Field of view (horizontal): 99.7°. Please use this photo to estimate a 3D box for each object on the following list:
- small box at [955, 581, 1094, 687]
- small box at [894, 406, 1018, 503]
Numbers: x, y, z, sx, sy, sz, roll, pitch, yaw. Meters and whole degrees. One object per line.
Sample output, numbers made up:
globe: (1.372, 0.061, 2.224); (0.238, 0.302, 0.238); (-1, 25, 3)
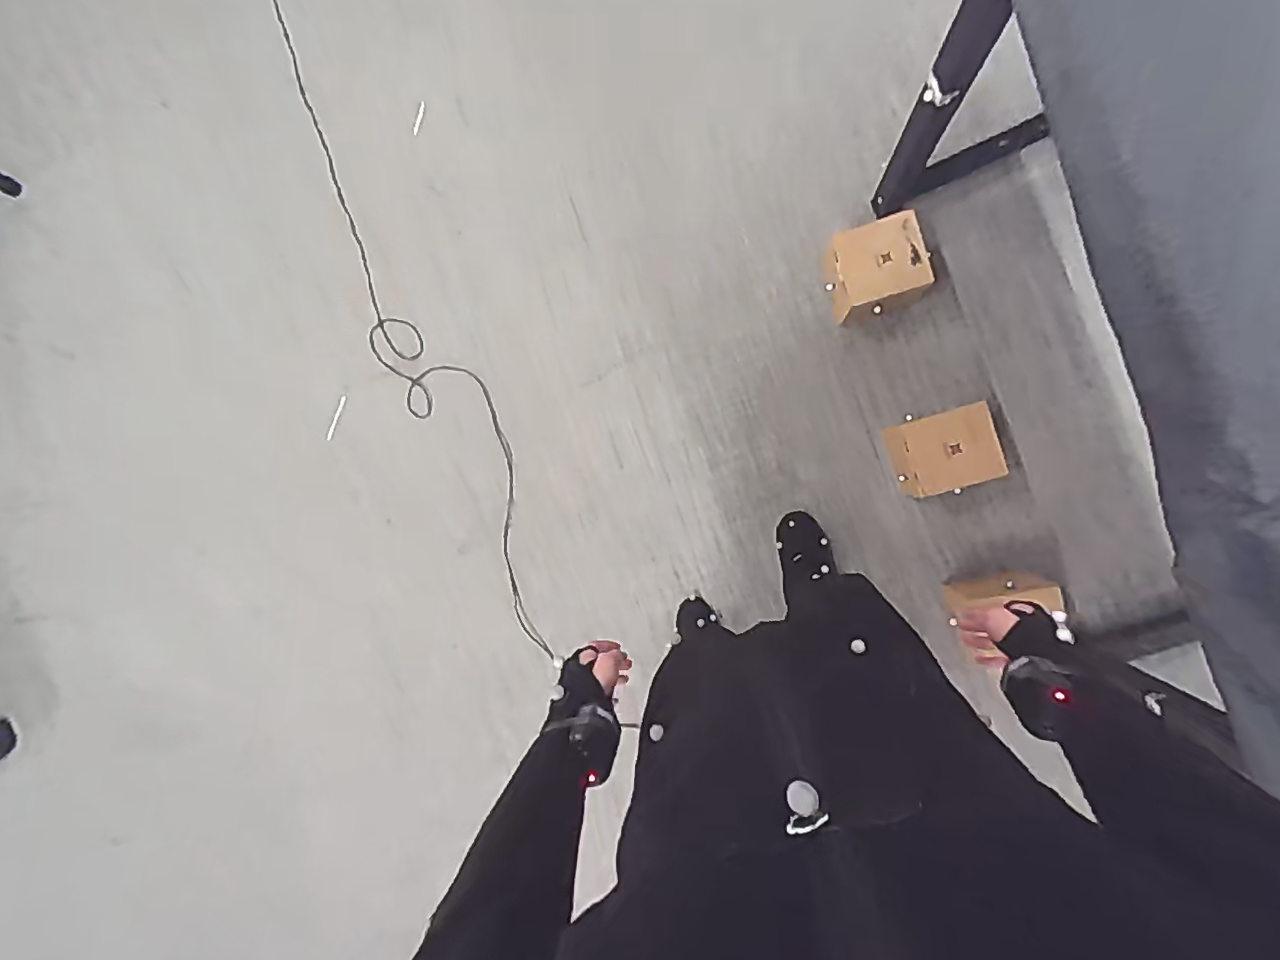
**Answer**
small box: (0.823, 0.326, 1.174); (0.179, 0.176, 0.168); (-15, 87, 14)
small box: (0.689, -0.052, 1.207); (0.179, 0.176, 0.168); (-18, 88, 10)
